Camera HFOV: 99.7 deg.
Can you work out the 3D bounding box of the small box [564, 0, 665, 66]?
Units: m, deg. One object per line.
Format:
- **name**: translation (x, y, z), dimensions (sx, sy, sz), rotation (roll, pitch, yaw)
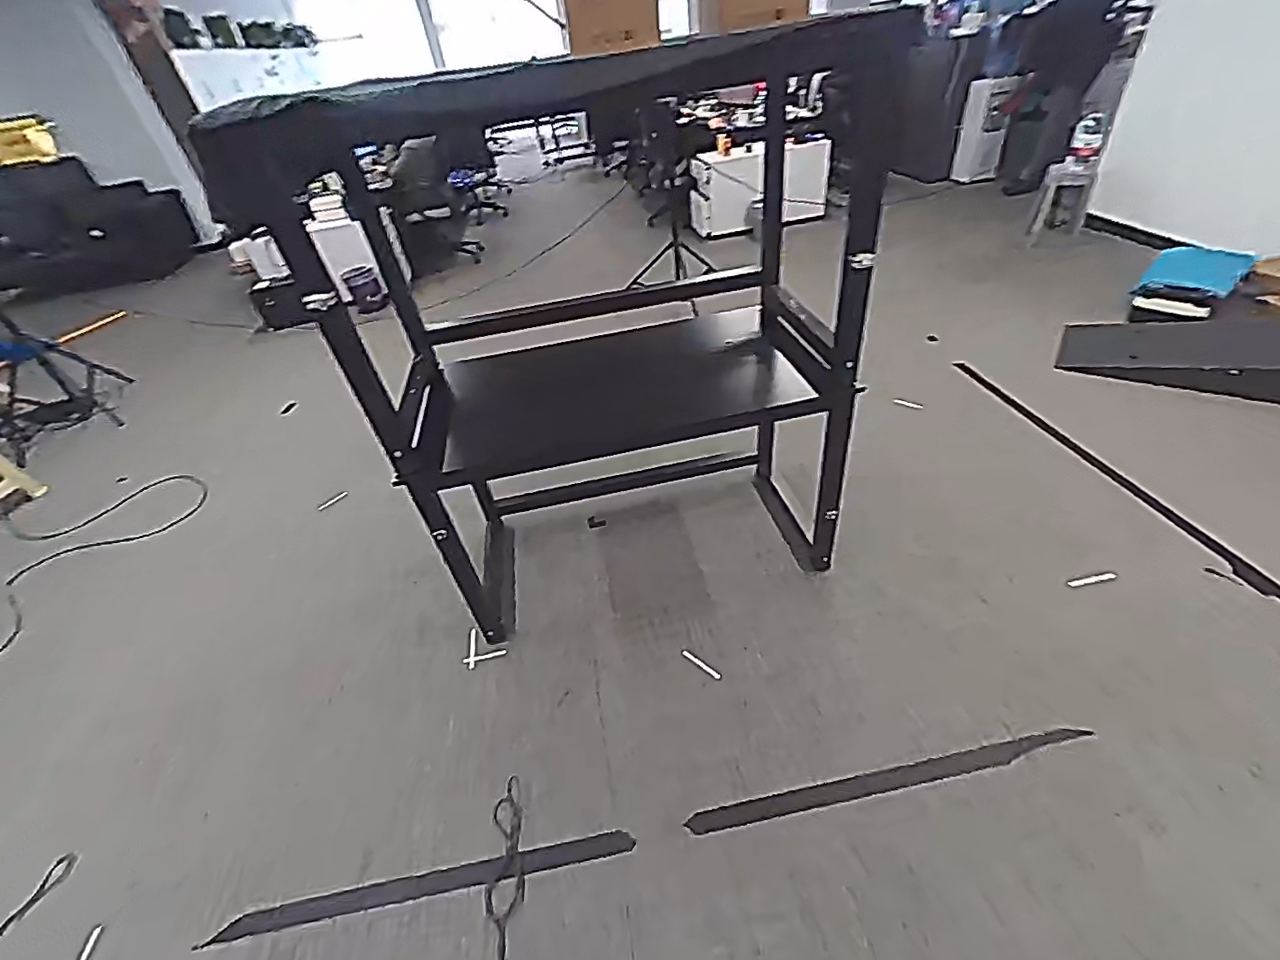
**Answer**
- **small box**: translation (-0.053, -0.860, 0.968), dimensions (0.168, 0.176, 0.179), rotation (-10, 38, -1)
